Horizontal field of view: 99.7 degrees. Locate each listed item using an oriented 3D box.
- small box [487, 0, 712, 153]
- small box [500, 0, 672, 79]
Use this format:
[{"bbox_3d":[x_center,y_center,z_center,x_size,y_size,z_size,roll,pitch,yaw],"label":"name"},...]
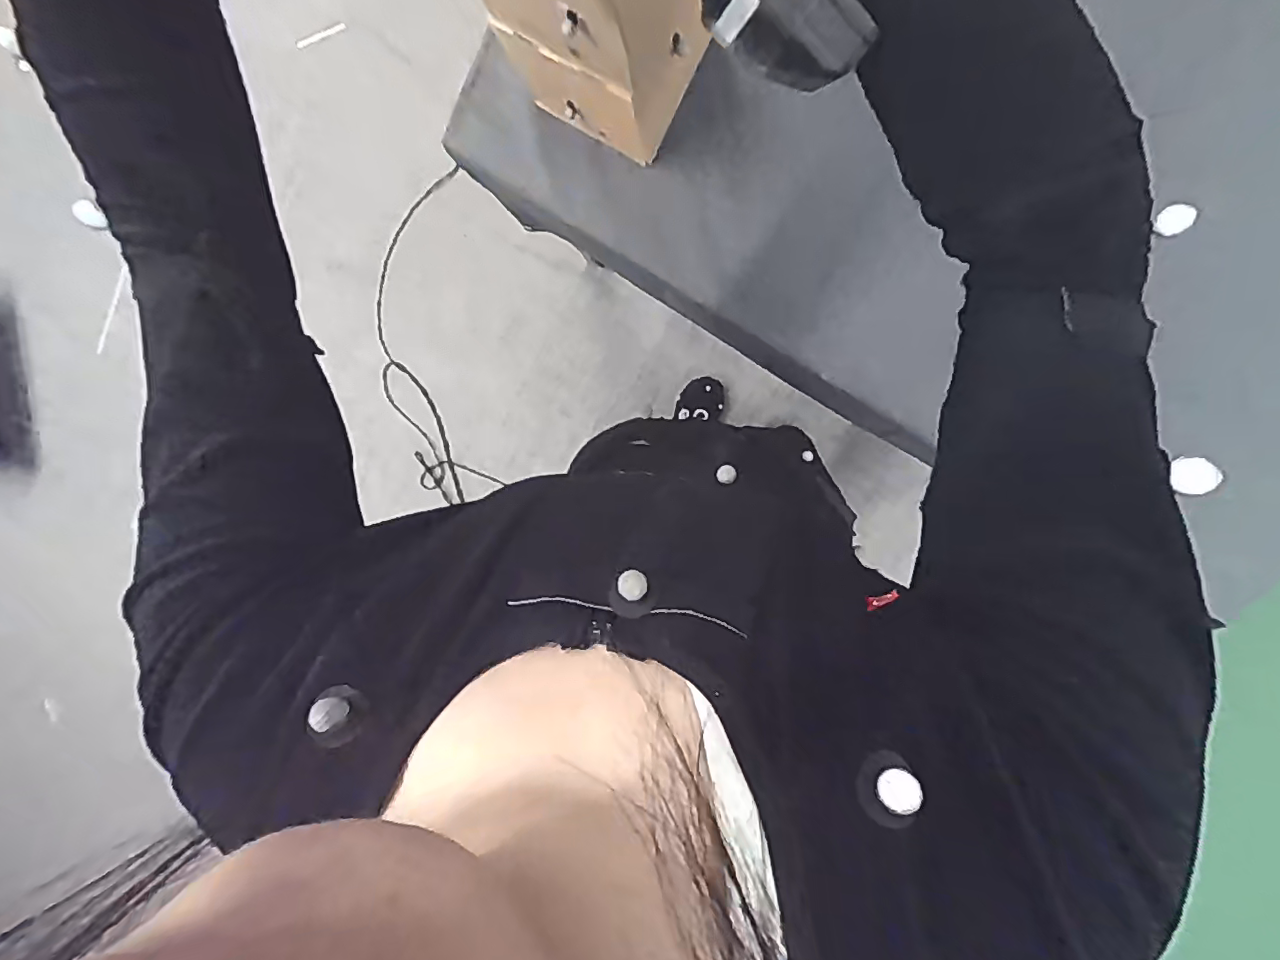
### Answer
[{"bbox_3d":[-0.030,-0.498,0.575,0.168,0.176,0.179,29,103,-1],"label":"small box"},{"bbox_3d":[-0.043,-0.466,0.416,0.168,0.176,0.179,30,103,-2],"label":"small box"}]
